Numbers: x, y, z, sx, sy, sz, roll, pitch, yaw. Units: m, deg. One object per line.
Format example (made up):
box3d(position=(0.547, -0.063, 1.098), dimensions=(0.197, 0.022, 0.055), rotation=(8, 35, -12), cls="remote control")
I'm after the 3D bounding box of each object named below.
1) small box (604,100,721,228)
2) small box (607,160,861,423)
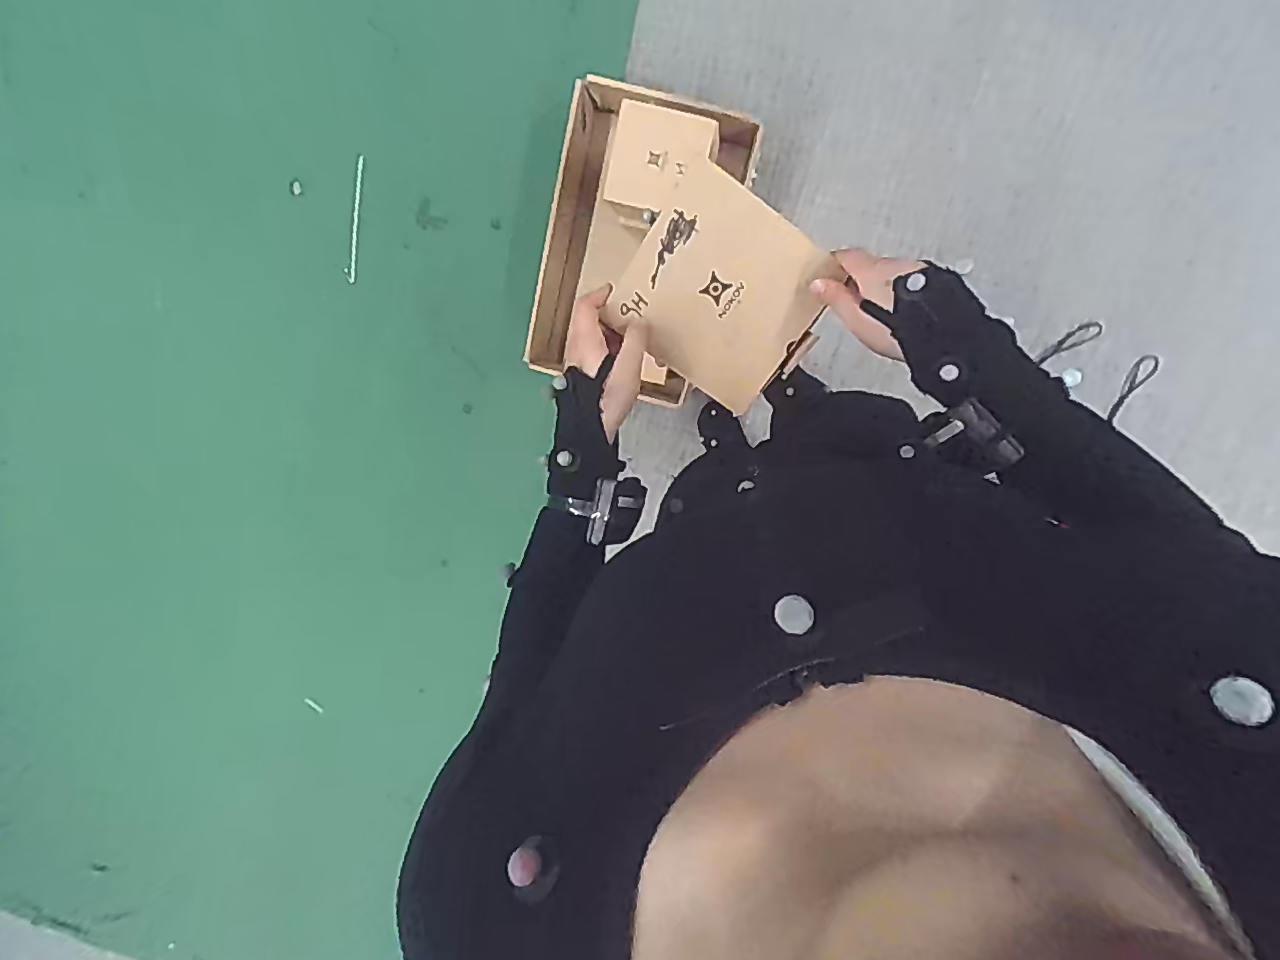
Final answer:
box3d(position=(0.047, -0.582, 1.029), dimensions=(0.179, 0.176, 0.168), rotation=(16, 108, 3), cls="small box")
box3d(position=(0.084, -0.190, 0.564), dimensions=(0.179, 0.176, 0.168), rotation=(33, 106, -12), cls="small box")
